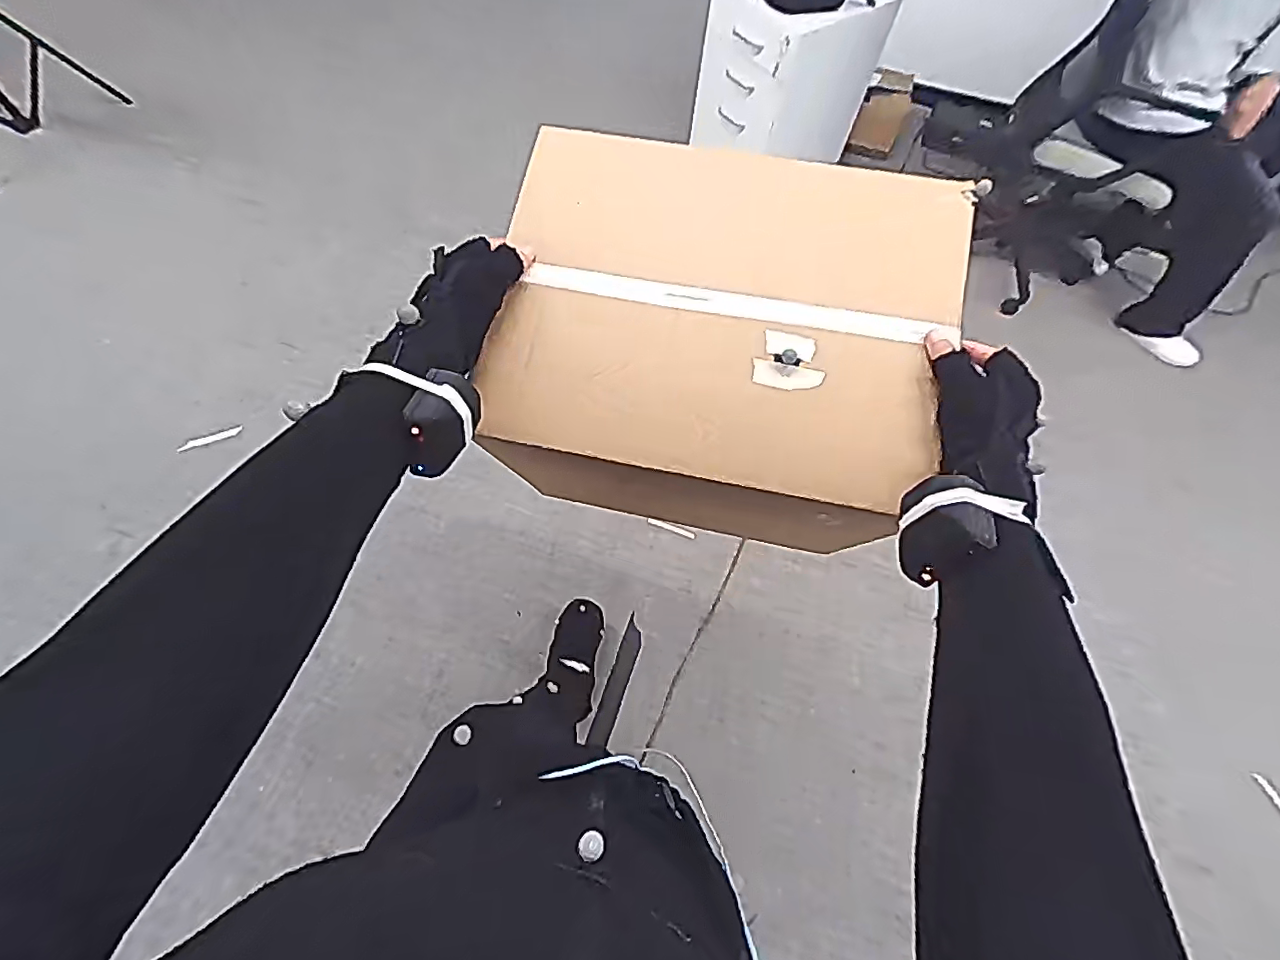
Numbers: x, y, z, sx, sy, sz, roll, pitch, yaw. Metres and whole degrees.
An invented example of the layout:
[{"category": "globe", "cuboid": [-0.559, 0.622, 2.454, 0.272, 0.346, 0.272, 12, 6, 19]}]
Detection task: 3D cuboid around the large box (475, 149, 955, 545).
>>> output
[{"category": "large box", "cuboid": [0.079, -0.122, 0.641, 0.408, 0.320, 0.320, 11, 80, 6]}]
